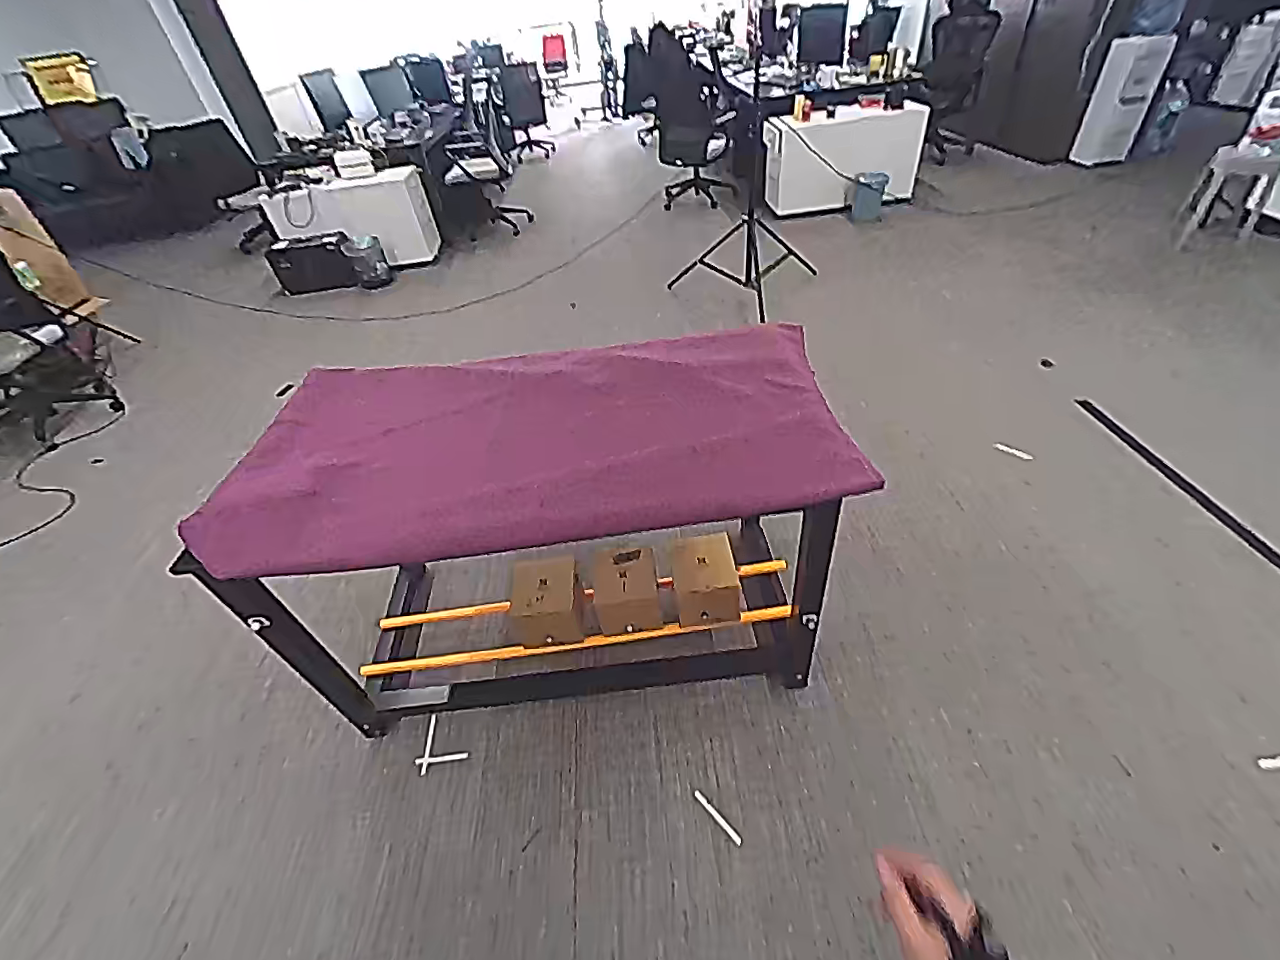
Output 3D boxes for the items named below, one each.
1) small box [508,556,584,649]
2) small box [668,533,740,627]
[{"bbox_3d":[-0.247,0.332,1.464,0.168,0.176,0.179,-7,44,2],"label":"small box"},{"bbox_3d":[0.169,0.271,1.460,0.168,0.176,0.179,-9,44,1],"label":"small box"}]
